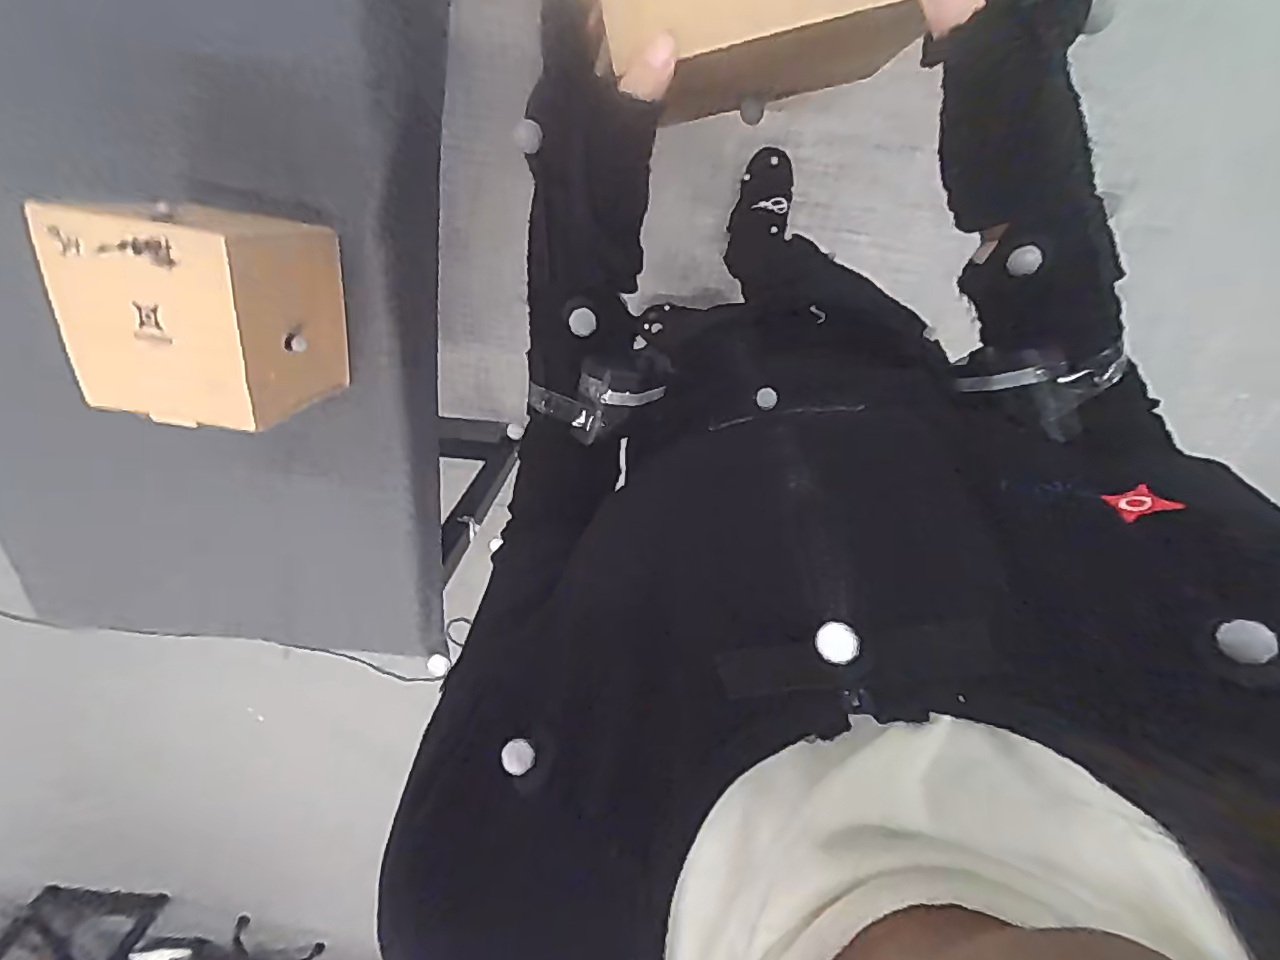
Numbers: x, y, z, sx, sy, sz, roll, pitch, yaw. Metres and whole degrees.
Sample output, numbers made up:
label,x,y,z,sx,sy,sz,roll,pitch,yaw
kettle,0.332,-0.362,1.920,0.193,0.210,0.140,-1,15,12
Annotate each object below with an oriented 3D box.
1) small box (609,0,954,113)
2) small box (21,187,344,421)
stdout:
label,x,y,z,sx,sy,sz,roll,pitch,yaw
small box,0.060,-0.315,0.273,0.168,0.176,0.179,-7,115,8
small box,-0.424,-0.182,0.544,0.168,0.176,0.179,10,117,-1
